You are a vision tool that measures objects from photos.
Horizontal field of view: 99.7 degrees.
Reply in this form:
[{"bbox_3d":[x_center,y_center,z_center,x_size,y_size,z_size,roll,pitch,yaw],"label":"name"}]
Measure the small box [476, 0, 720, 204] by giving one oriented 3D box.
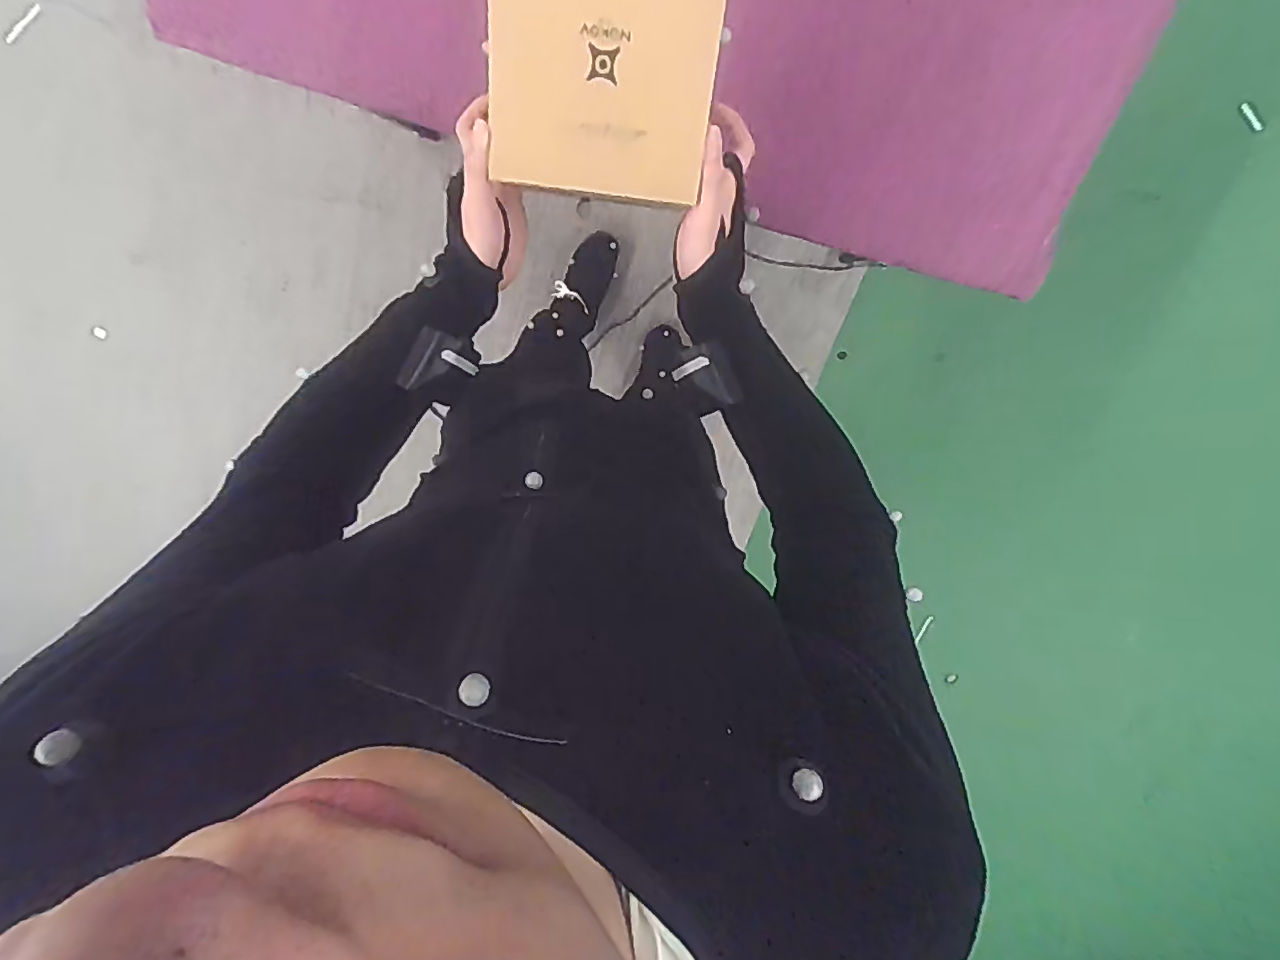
[{"bbox_3d":[-0.032,-0.340,0.450,0.168,0.176,0.179,7,115,-3],"label":"small box"}]
